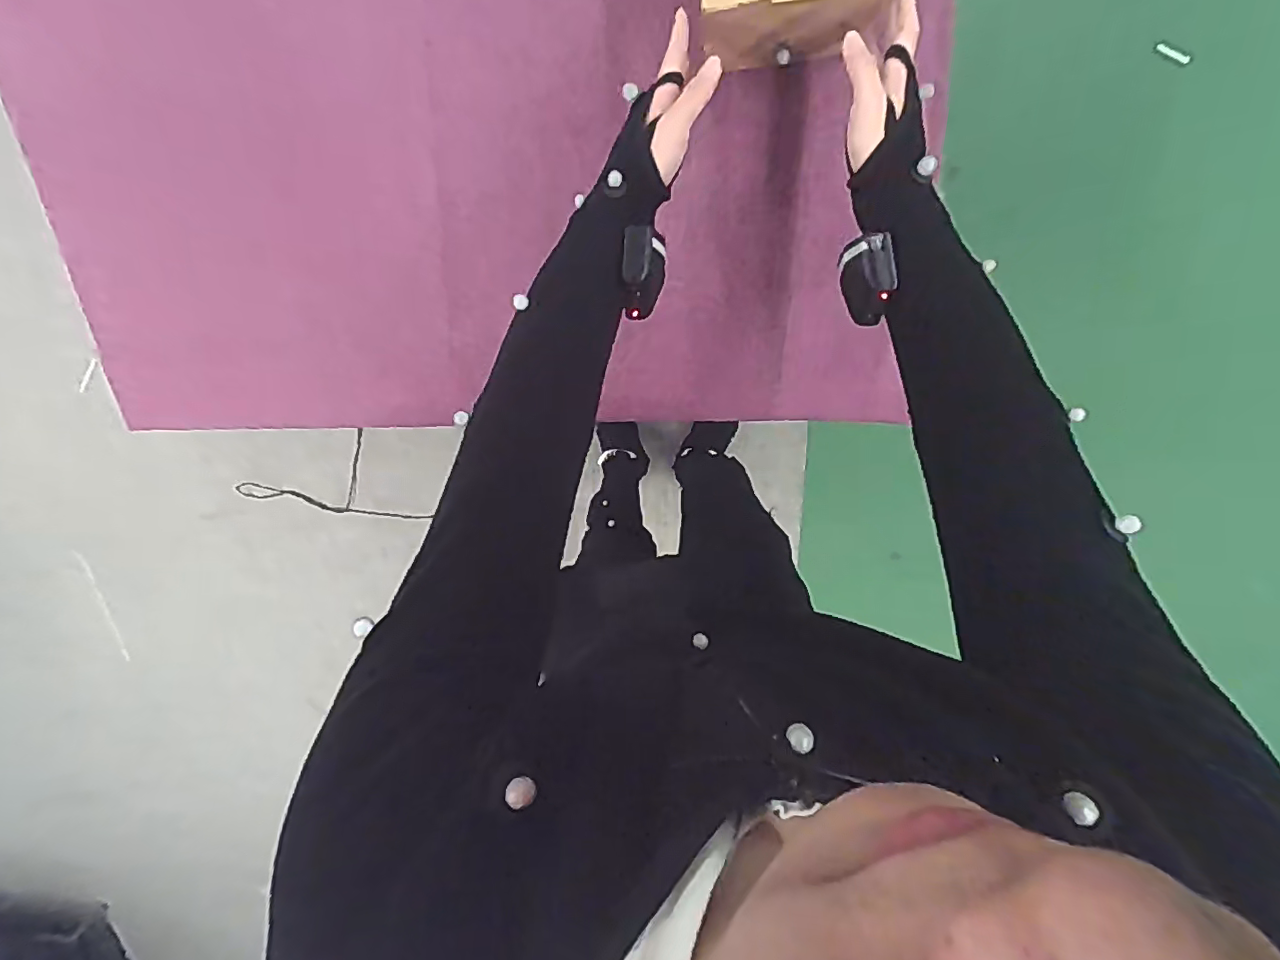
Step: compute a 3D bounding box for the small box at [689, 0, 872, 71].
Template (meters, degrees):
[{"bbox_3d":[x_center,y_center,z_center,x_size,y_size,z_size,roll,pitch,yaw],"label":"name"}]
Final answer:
[{"bbox_3d":[0.132,-0.530,0.516,0.168,0.176,0.179,0,112,11],"label":"small box"}]
